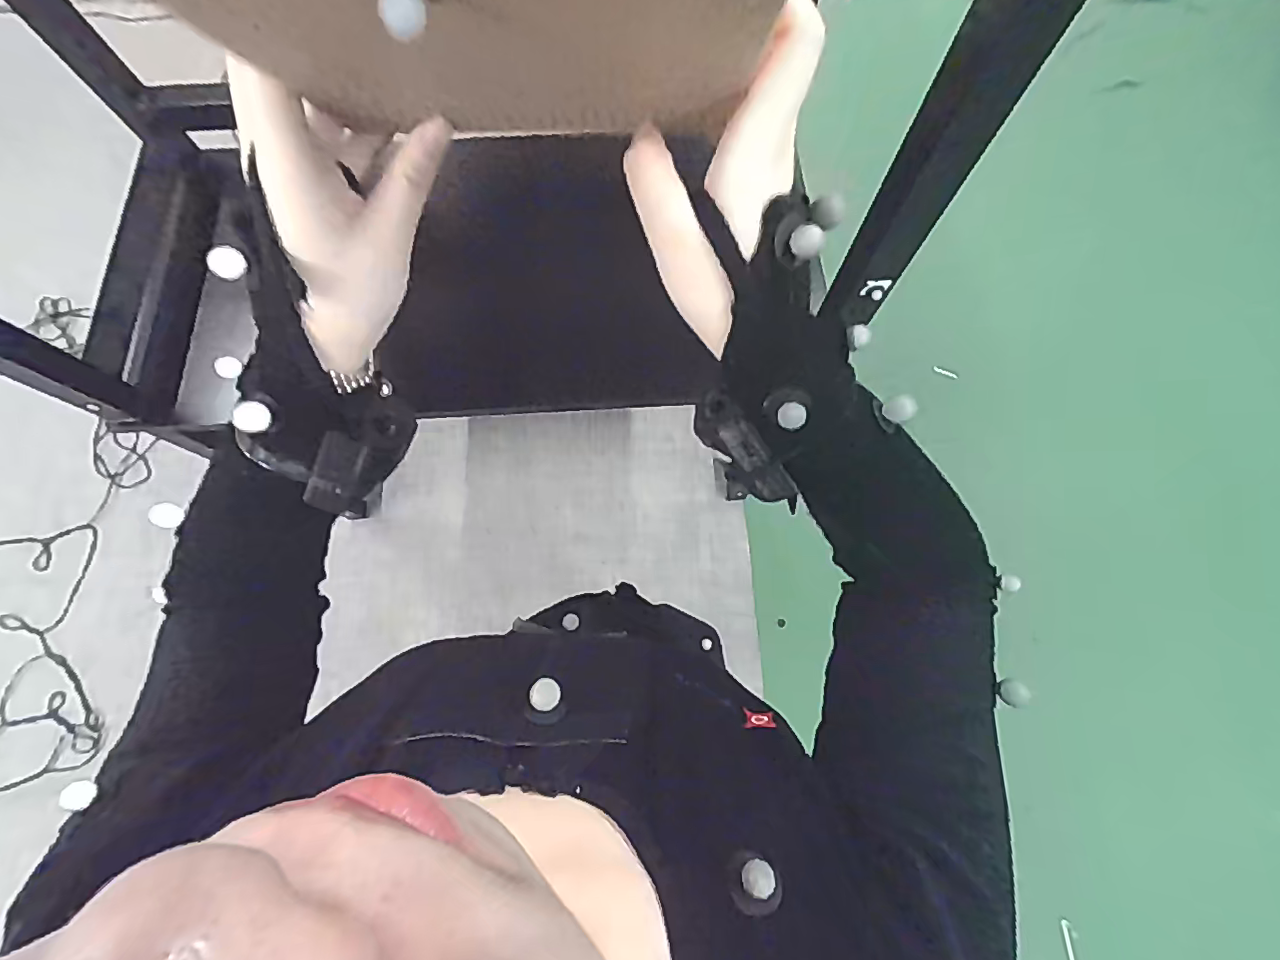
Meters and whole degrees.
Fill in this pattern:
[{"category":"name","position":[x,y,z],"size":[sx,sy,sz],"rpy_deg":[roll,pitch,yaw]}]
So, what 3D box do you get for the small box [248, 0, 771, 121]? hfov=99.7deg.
[{"category":"small box","position":[-0.041,-0.222,0.154],"size":[0.179,0.176,0.168],"rpy_deg":[0,108,-1]}]
